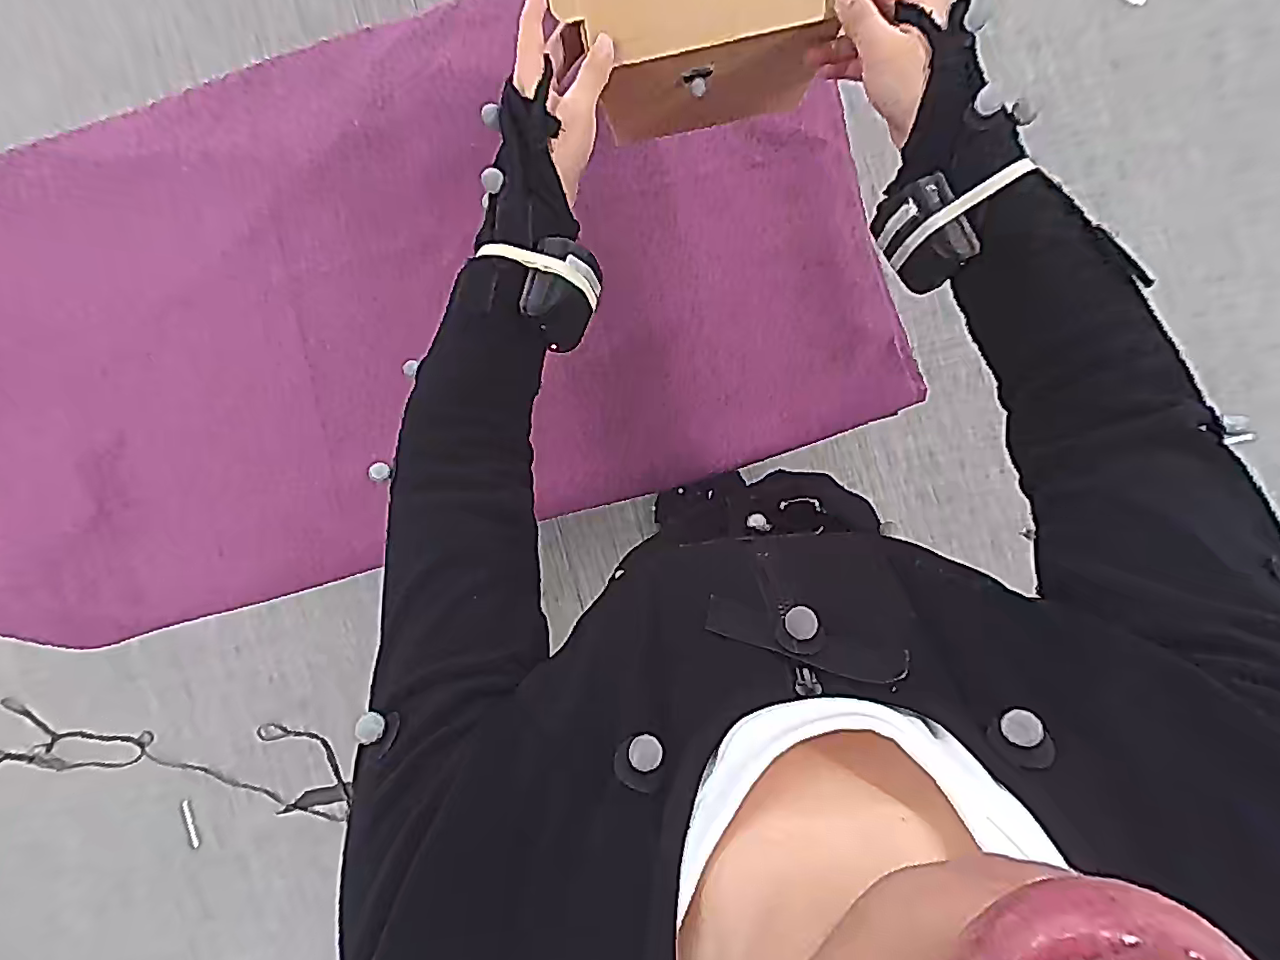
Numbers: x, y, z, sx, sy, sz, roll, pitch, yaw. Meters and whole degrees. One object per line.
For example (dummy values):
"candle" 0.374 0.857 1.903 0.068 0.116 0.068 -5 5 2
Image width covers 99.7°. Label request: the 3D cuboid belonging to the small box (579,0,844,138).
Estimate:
"small box" 0.044 -0.394 0.422 0.179 0.176 0.168 -8 106 6
